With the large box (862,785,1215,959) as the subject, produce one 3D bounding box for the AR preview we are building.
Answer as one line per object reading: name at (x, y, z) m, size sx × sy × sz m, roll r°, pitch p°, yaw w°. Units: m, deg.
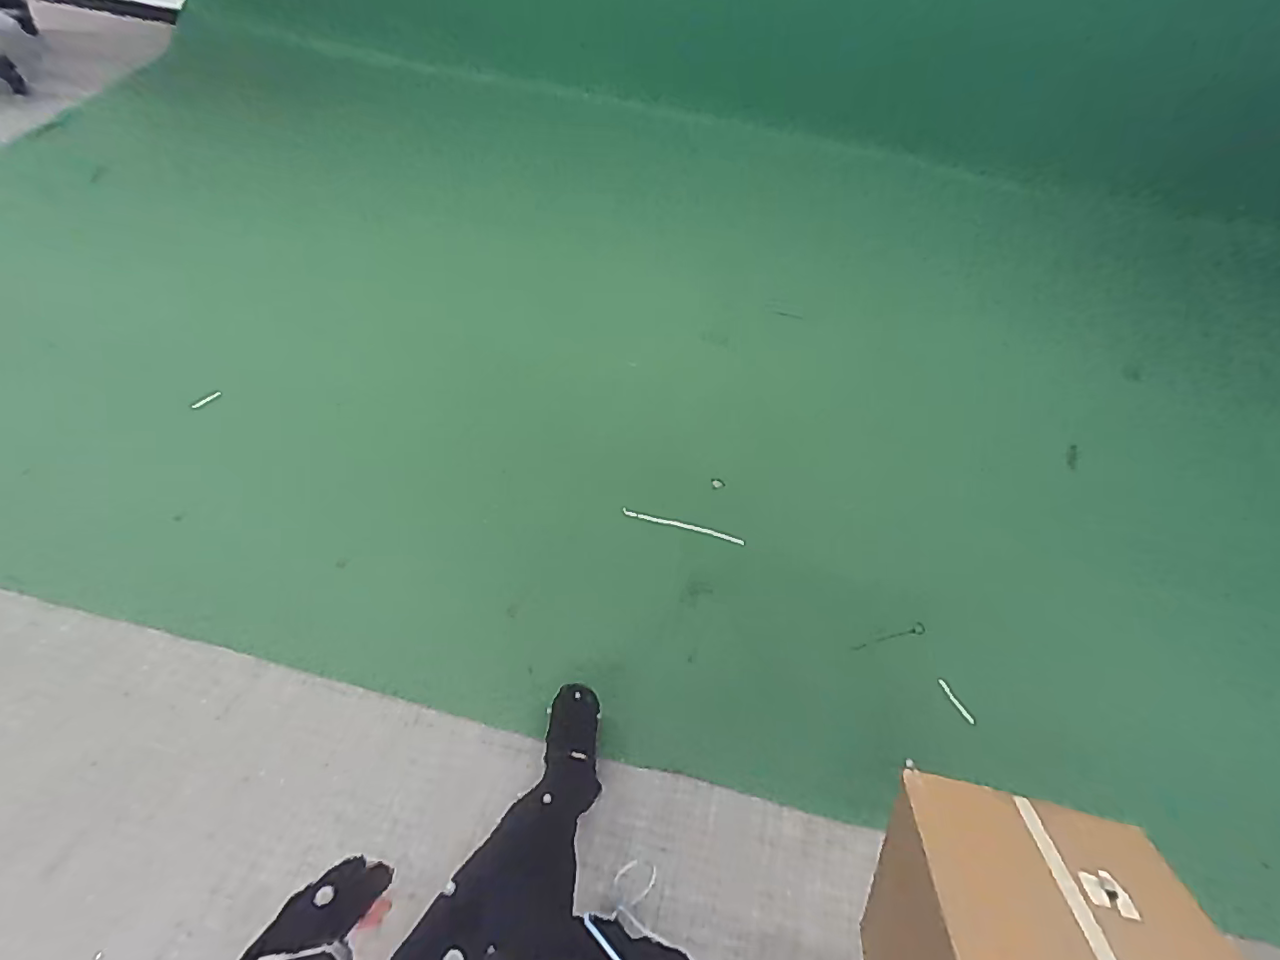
large box at (0.474, 0.667, 0.632) m, size 0.320 × 0.320 × 0.408 m, roll 10°, pitch 14°, yaw 12°
